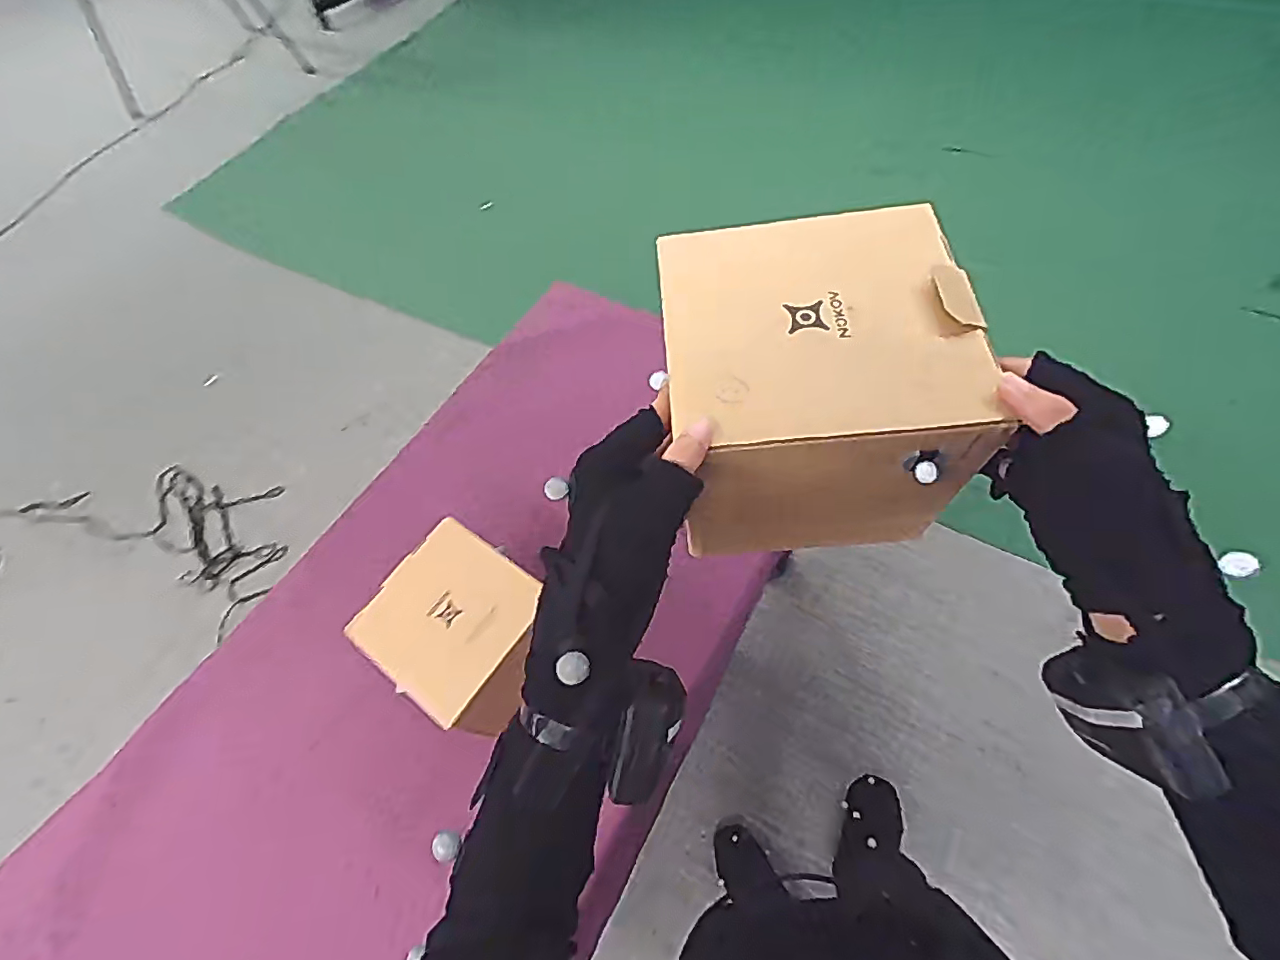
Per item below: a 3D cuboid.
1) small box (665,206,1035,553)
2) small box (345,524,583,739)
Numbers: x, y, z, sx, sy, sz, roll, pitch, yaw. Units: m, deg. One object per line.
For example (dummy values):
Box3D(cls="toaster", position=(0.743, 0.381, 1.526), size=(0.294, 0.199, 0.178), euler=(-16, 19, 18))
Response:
Box3D(cls="small box", position=(0.115, -0.054, 0.377), size=(0.179, 0.176, 0.168), euler=(-5, 62, 5))
Box3D(cls="small box", position=(-0.195, 0.188, 0.647), size=(0.179, 0.176, 0.168), euler=(30, 70, 22))
